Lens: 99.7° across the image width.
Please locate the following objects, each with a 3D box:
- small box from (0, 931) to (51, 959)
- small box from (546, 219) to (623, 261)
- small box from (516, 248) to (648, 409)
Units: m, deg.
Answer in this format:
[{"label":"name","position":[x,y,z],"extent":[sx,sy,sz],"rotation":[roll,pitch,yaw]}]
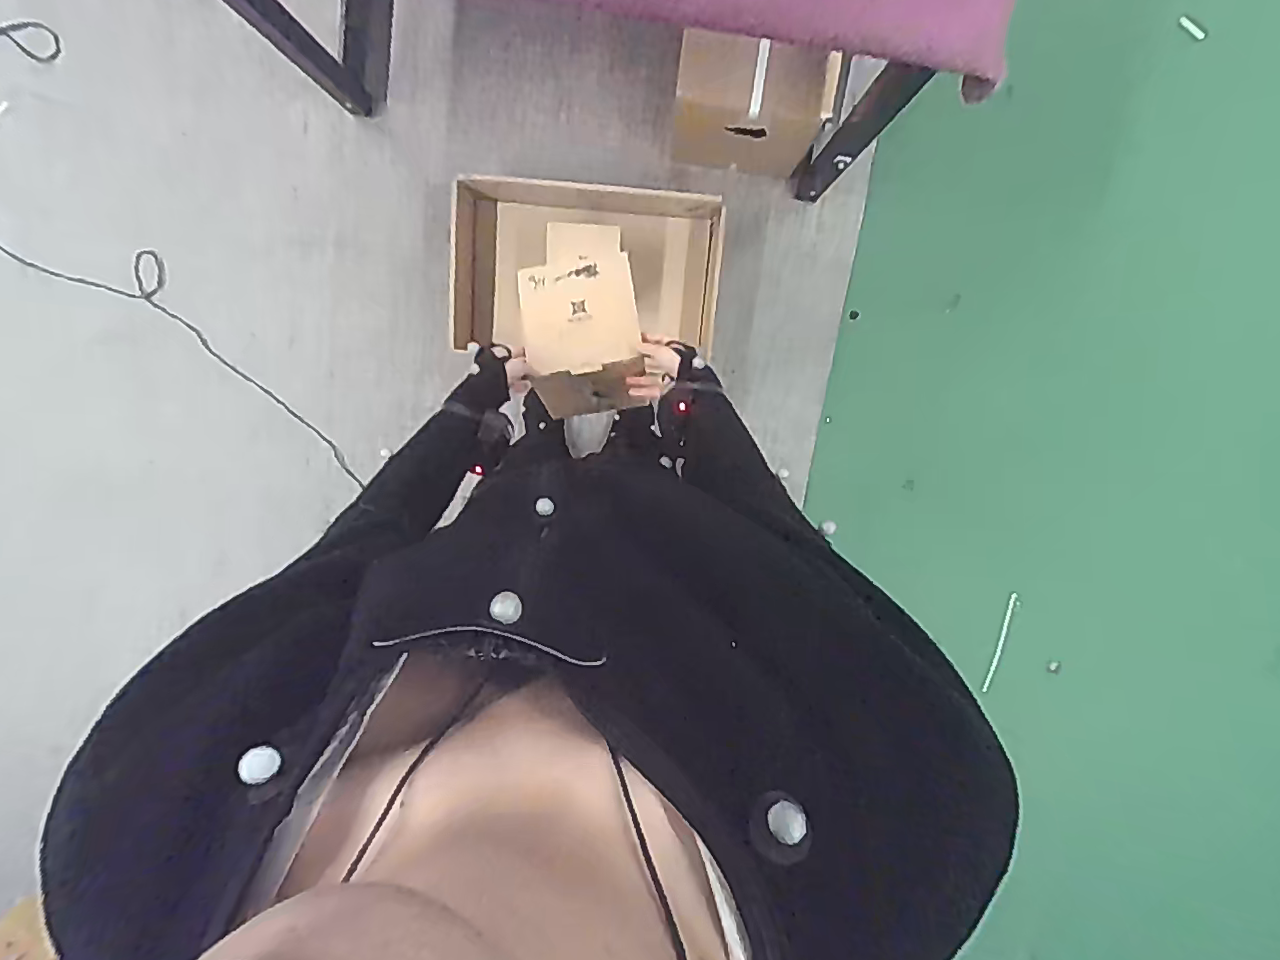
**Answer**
[{"label":"small box","position":[-1.443,1.140,1.163],"extent":[0.168,0.176,0.179],"rotation":[27,99,-4]},{"label":"small box","position":[-0.128,-0.496,1.277],"extent":[0.168,0.176,0.179],"rotation":[4,102,0]},{"label":"small box","position":[-0.081,-0.219,0.832],"extent":[0.168,0.176,0.179],"rotation":[-9,76,1]}]
